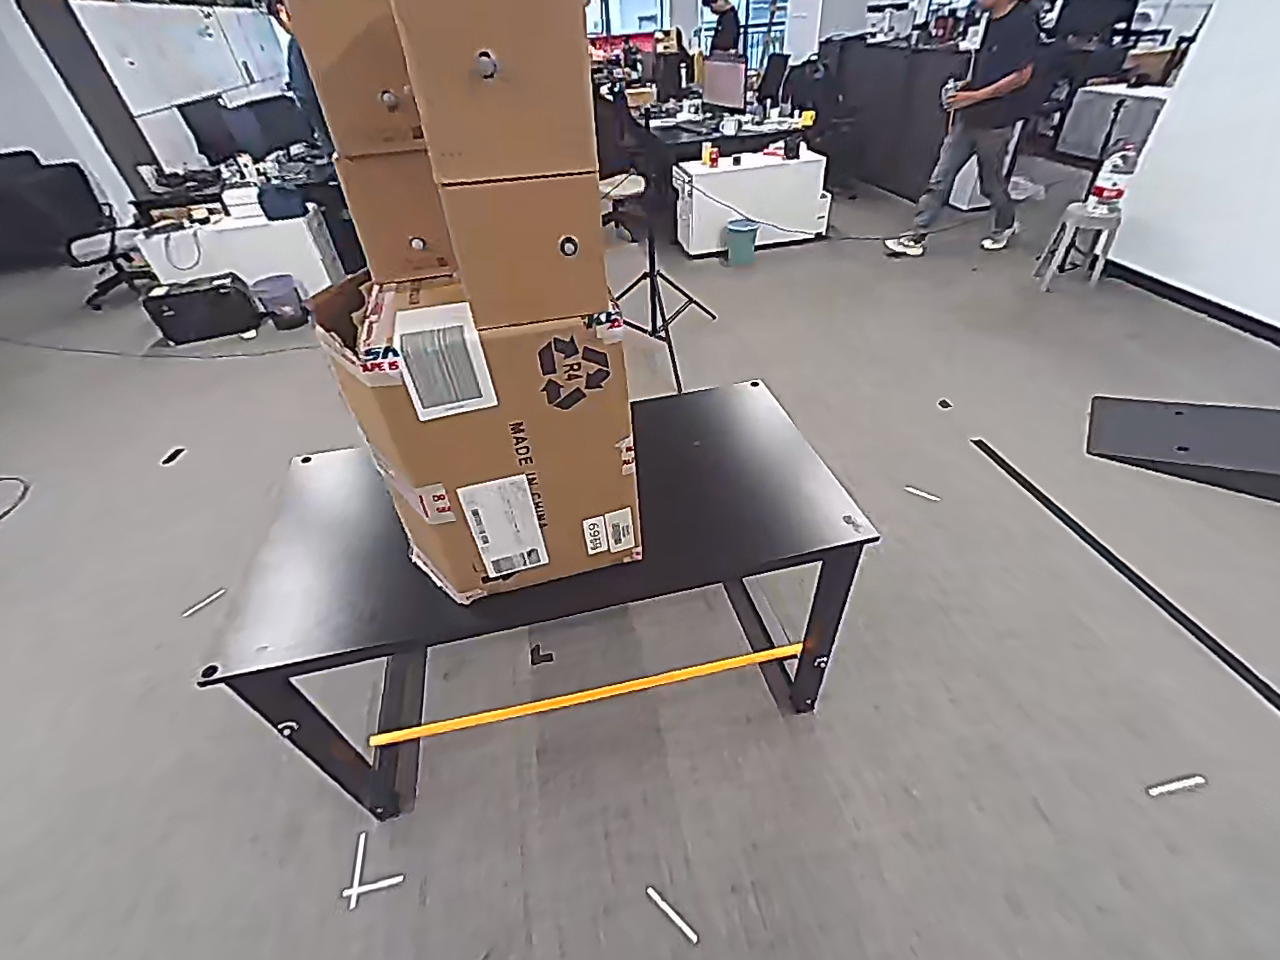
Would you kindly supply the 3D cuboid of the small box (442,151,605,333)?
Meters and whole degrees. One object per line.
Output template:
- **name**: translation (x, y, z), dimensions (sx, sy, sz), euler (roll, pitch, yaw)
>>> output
- **small box**: translation (-0.146, -0.311, 0.707), dimensions (0.179, 0.176, 0.168), euler (-12, 41, -9)

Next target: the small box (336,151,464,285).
- **small box**: translation (-0.343, -0.417, 0.839), dimensions (0.168, 0.176, 0.179), euler (-13, 41, -12)

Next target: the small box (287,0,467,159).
- **small box**: translation (-0.342, -0.542, 0.730), dimensions (0.168, 0.176, 0.179), euler (-15, 40, -13)
